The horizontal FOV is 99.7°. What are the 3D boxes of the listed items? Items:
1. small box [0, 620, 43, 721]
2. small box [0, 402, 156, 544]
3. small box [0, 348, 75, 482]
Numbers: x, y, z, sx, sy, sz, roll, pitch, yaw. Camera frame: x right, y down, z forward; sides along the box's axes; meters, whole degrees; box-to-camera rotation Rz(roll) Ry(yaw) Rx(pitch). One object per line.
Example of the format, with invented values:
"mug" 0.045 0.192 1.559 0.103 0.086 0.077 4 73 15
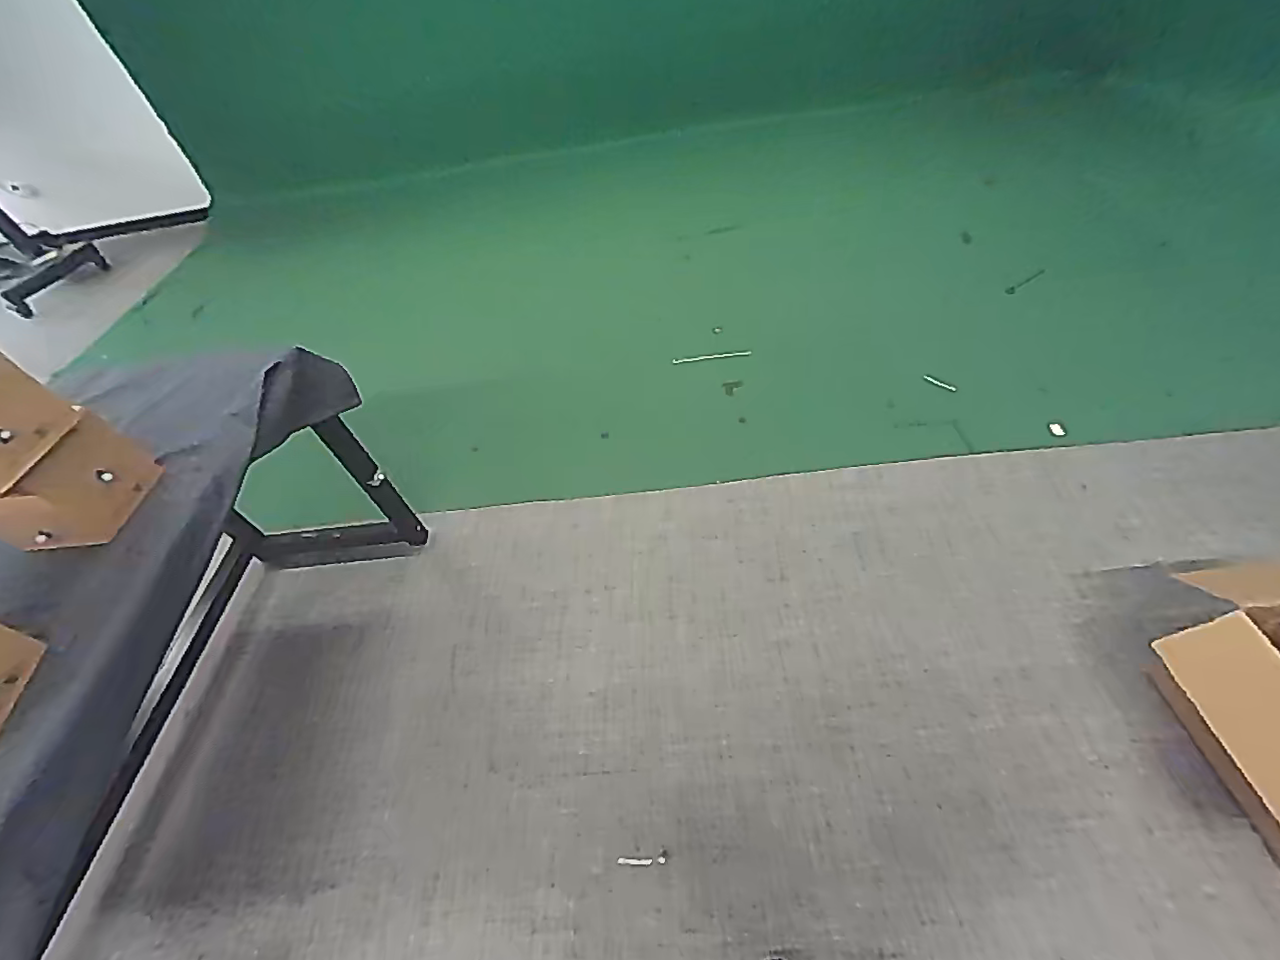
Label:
"small box" -0.943 0.260 0.673 0.179 0.176 0.168 -13 49 -2
"small box" -0.989 -0.008 0.908 0.179 0.176 0.168 -5 50 5
"small box" -0.999 -0.094 0.767 0.179 0.176 0.168 -3 50 7
